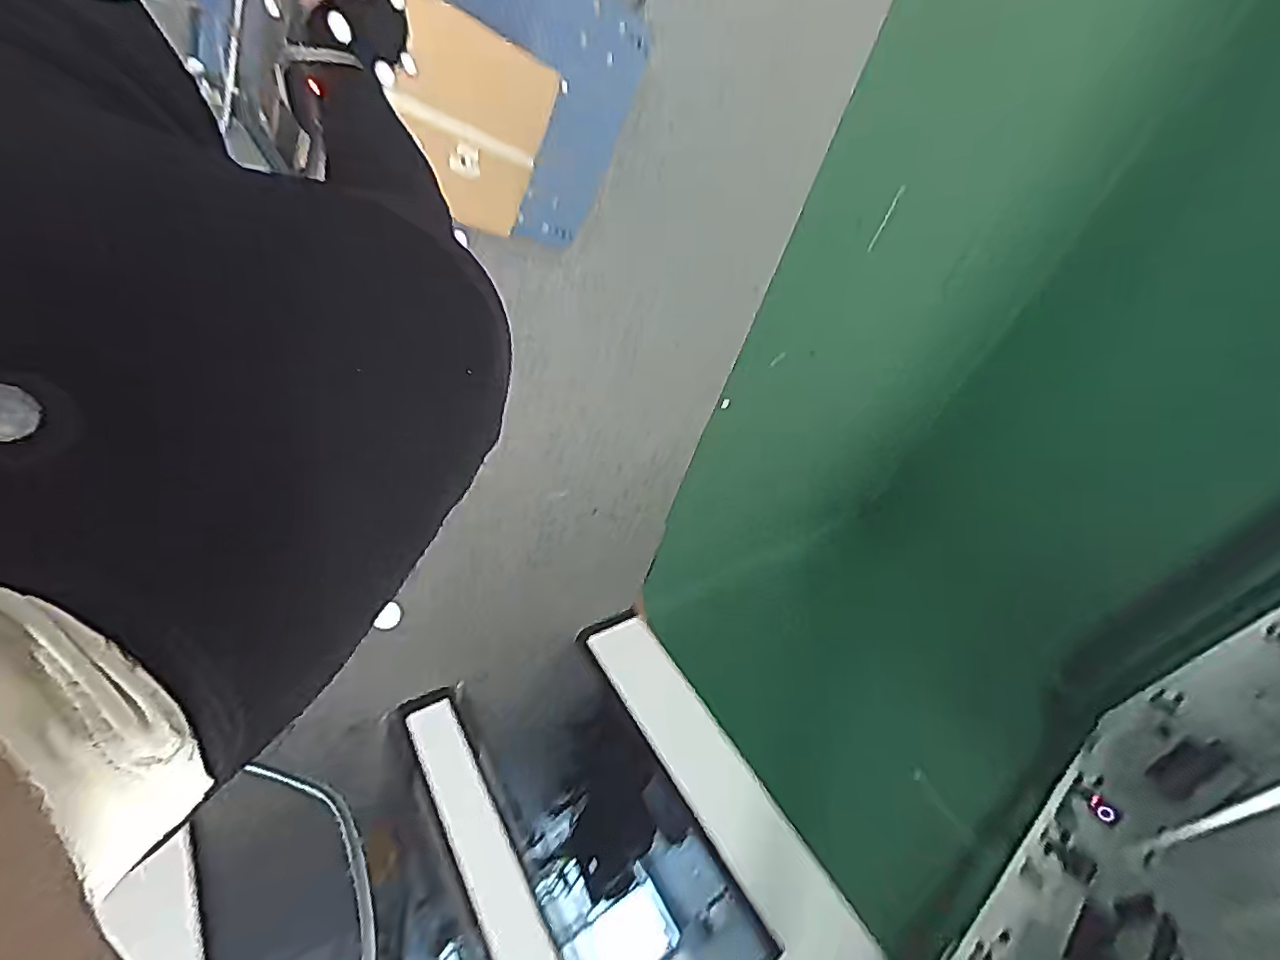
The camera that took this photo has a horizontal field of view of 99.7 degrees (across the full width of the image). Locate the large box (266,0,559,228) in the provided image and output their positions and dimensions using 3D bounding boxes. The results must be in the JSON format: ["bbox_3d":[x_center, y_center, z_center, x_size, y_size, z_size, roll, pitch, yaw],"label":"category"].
[{"bbox_3d":[-0.440,-0.743,1.032,0.408,0.320,0.320,-2,132,-45],"label":"large box"}]
